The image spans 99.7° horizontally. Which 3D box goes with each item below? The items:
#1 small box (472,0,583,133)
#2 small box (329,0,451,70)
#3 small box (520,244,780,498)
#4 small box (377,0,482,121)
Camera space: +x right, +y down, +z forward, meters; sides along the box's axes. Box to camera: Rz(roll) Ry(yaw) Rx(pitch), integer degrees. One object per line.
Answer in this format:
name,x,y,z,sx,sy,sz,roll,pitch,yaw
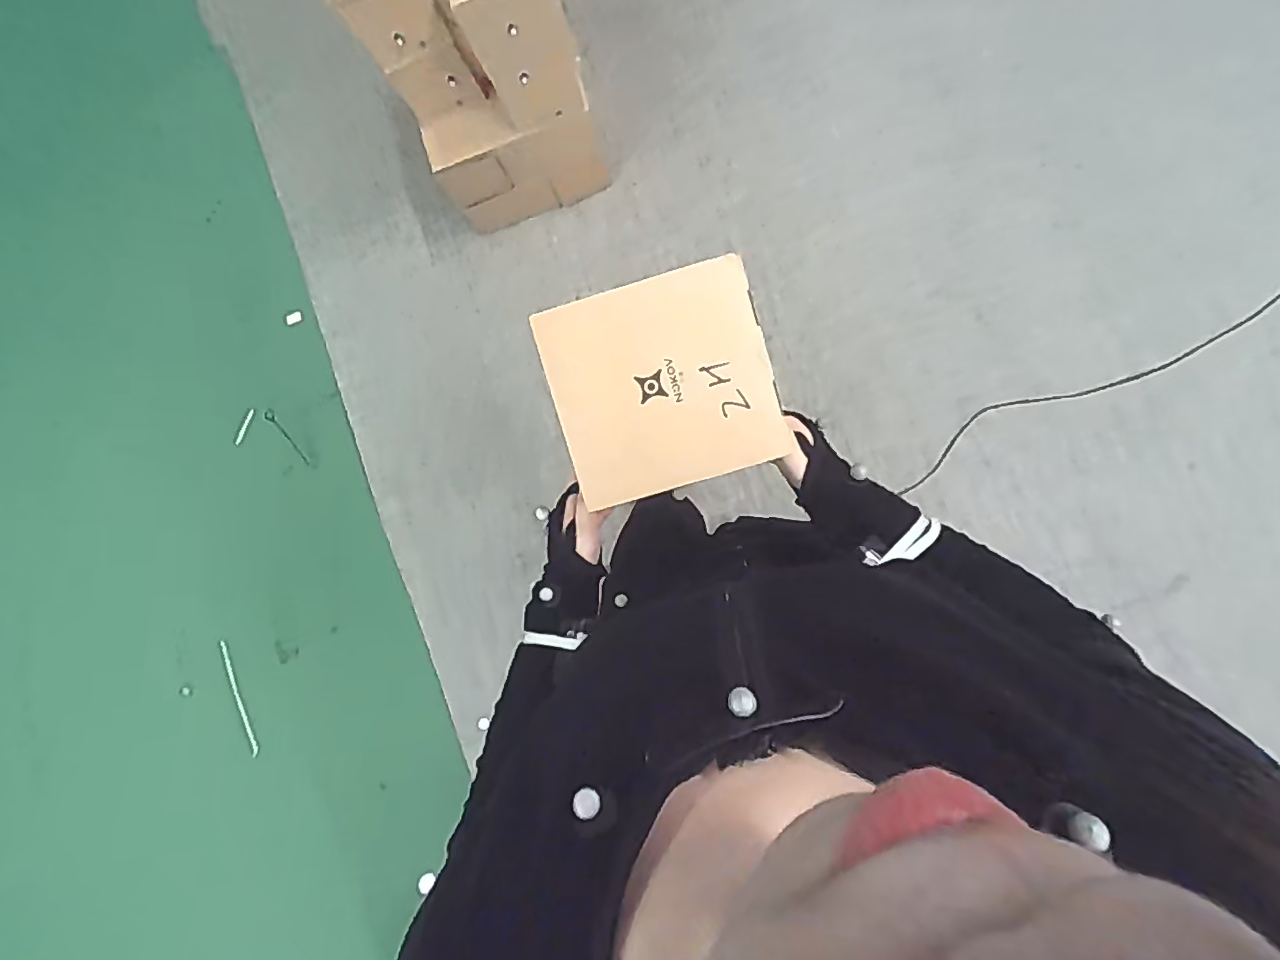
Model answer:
small box,-0.236,-0.904,1.166,0.168,0.176,0.179,-15,85,7
small box,-0.494,-0.956,1.043,0.168,0.176,0.179,-17,87,7
small box,0.011,-0.089,0.507,0.179,0.176,0.168,-16,95,2
small box,-0.474,-0.946,1.205,0.168,0.176,0.179,-17,85,7
